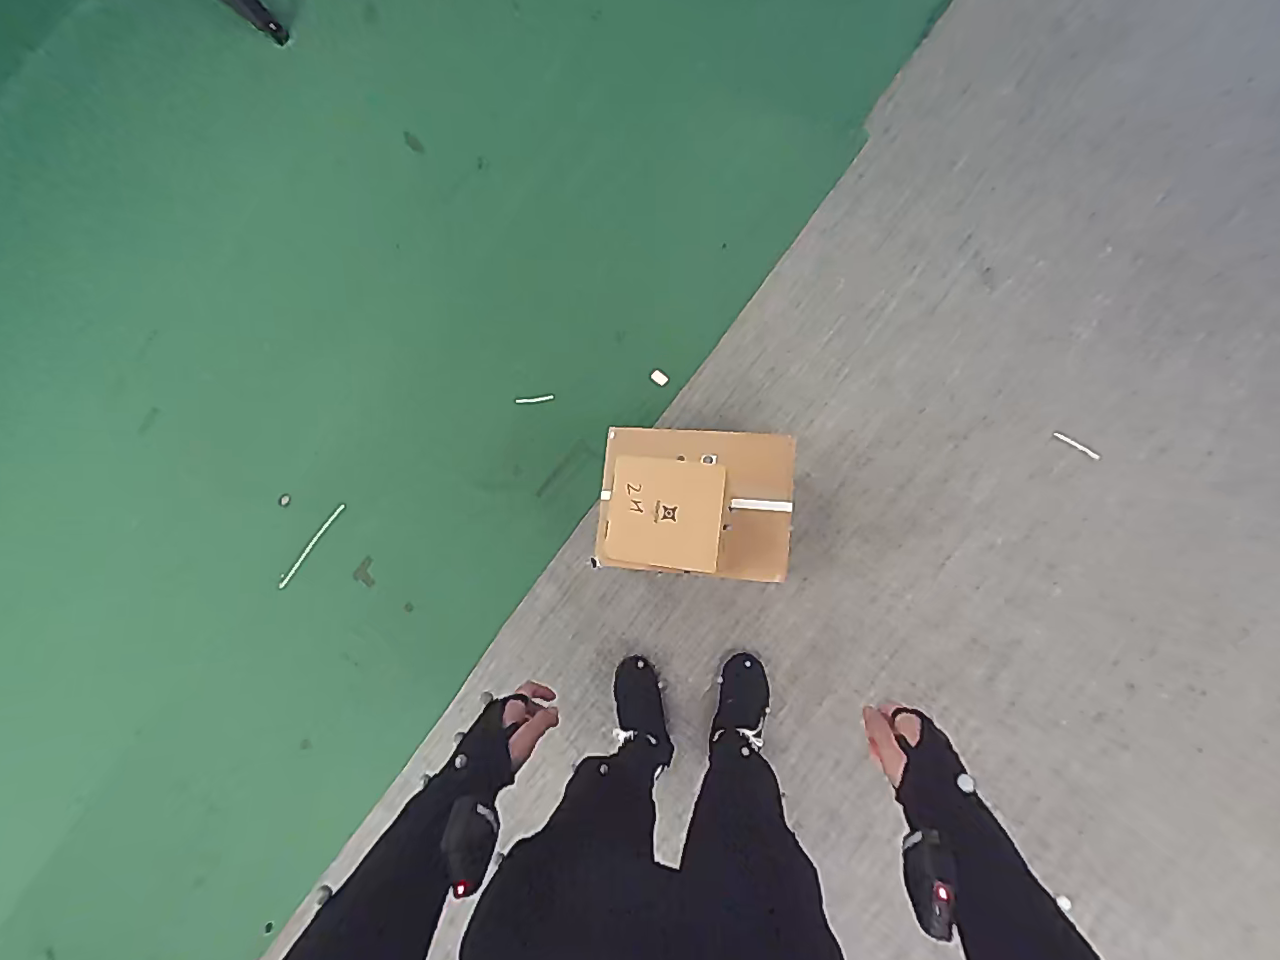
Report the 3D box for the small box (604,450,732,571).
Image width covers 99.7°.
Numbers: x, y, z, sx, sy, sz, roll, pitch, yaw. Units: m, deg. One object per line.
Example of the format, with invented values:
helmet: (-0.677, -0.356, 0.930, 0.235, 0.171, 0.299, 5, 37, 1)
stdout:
small box: (0.055, 0.054, 0.886, 0.179, 0.176, 0.168, 6, 82, 12)
